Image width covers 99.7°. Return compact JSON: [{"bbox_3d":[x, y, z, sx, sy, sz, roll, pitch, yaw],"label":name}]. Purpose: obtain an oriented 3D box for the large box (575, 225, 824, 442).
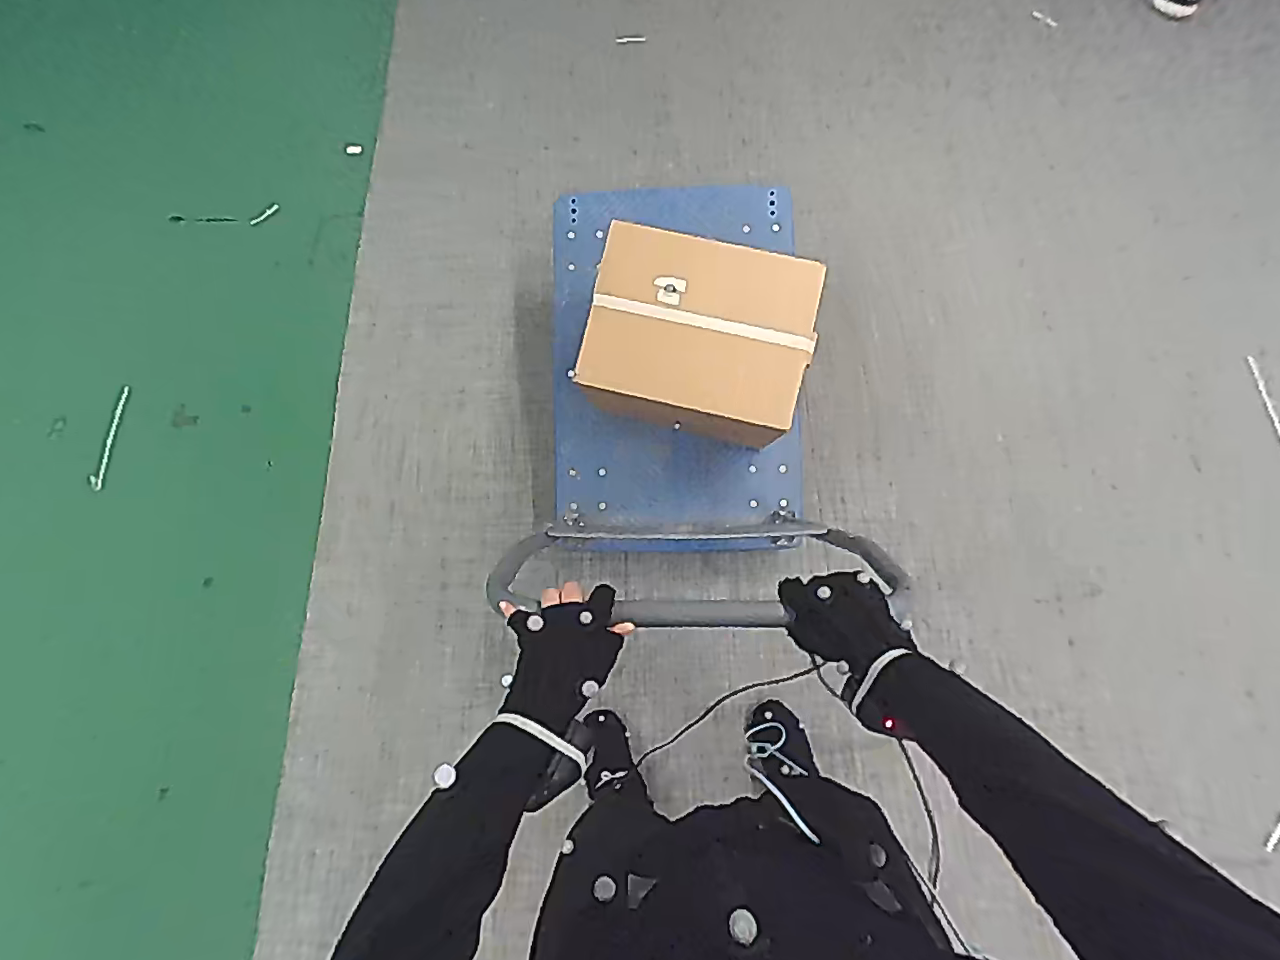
[{"bbox_3d":[0.118,-0.277,1.127,0.408,0.320,0.320,13,88,4],"label":"large box"}]
